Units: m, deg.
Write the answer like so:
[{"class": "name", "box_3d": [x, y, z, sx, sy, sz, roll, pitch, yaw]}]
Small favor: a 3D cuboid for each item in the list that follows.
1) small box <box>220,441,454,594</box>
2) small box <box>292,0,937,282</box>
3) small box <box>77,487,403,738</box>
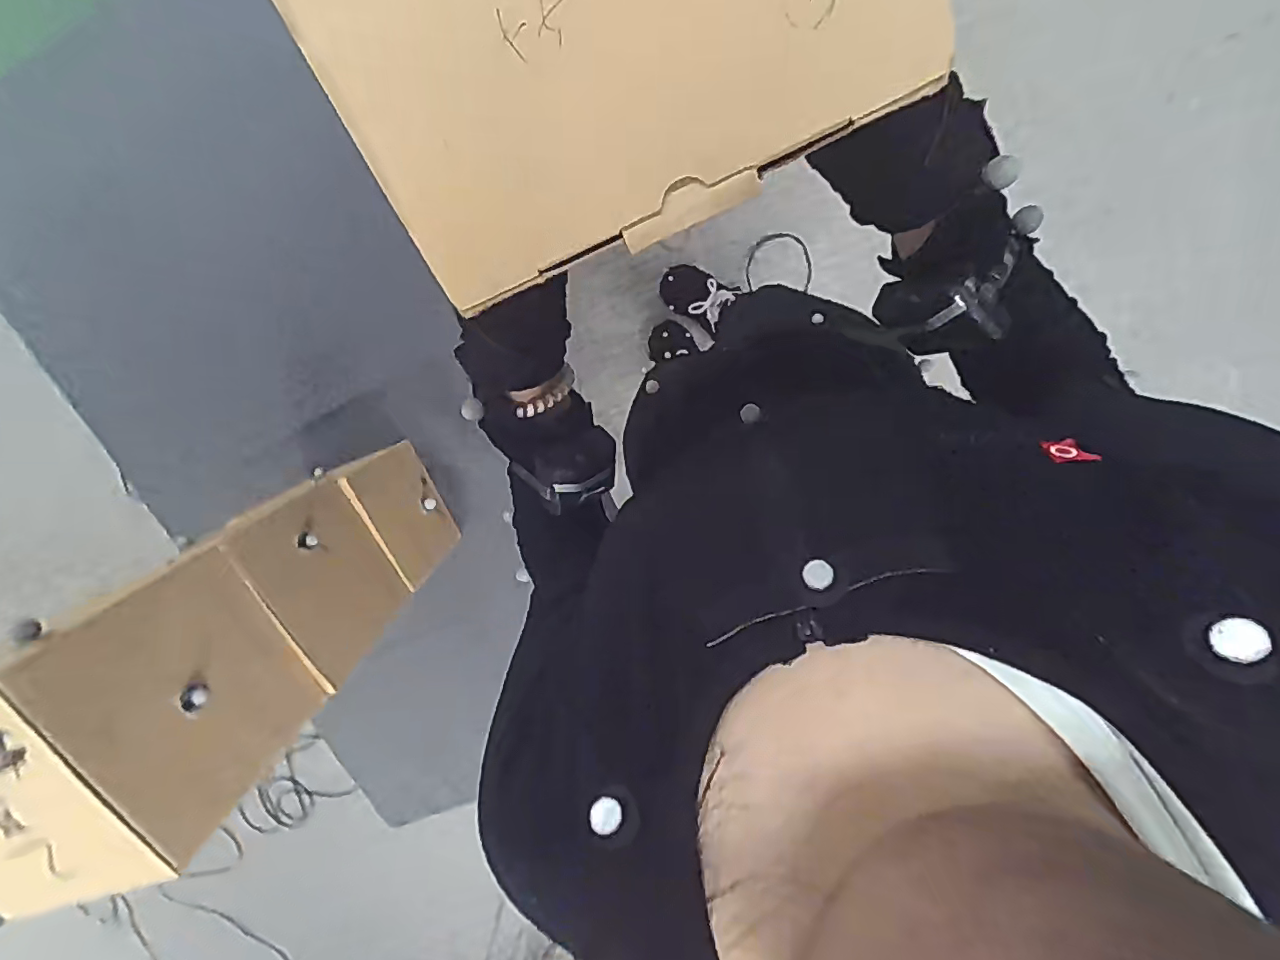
[{"class": "small box", "box_3d": [-0.383, 0.065, 0.719, 0.179, 0.176, 0.168, -20, 107, 9]}, {"class": "small box", "box_3d": [-0.023, -0.199, 0.202, 0.168, 0.176, 0.179, -21, 115, 8]}, {"class": "small box", "box_3d": [-0.392, 0.123, 0.567, 0.168, 0.176, 0.179, -22, 106, 11]}]
